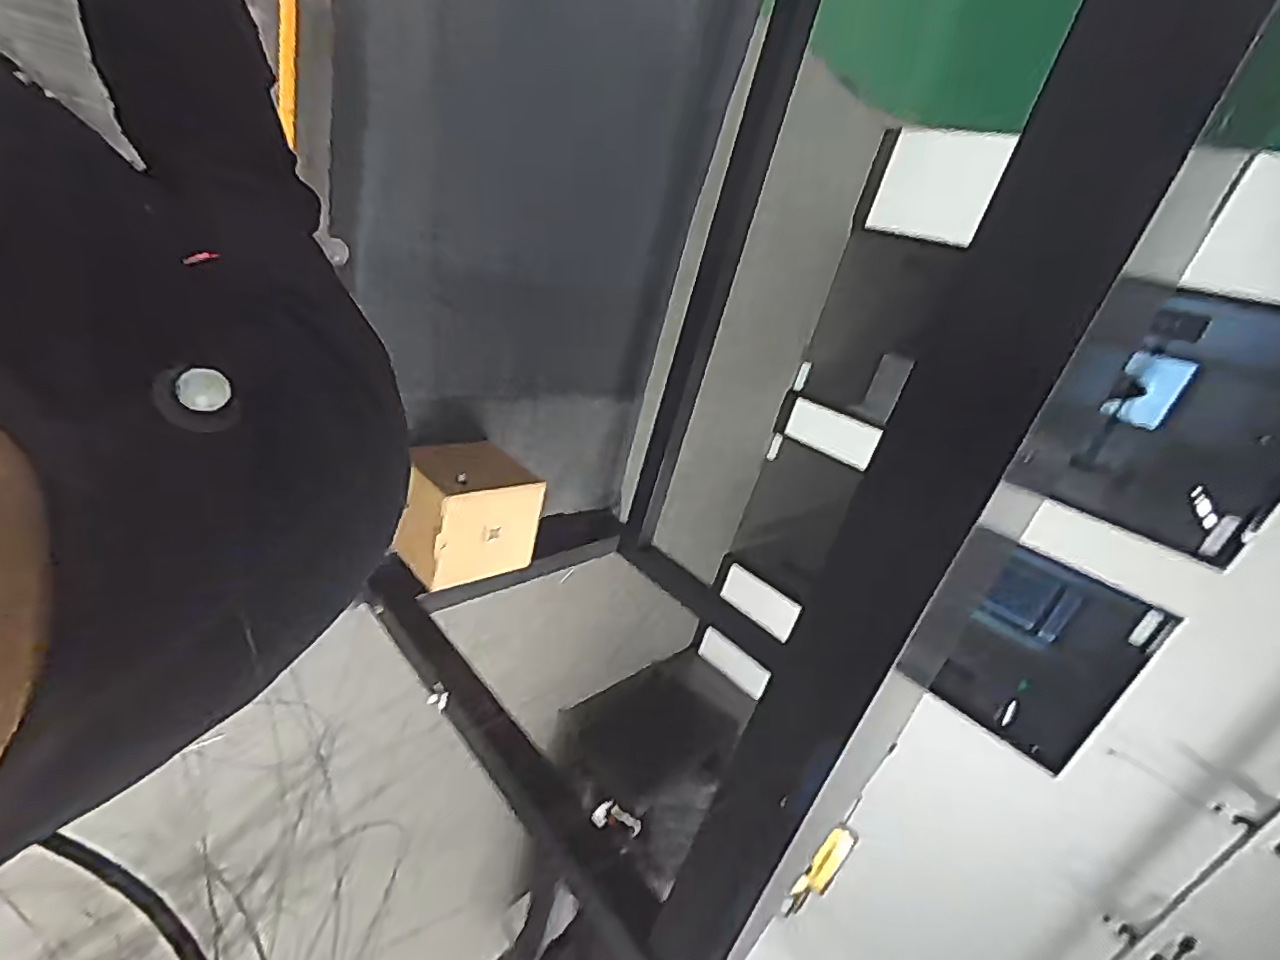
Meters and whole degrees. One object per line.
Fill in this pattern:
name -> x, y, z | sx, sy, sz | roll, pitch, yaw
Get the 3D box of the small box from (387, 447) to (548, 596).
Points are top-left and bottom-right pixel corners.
small box -> -0.280, 0.055, 0.873 | 0.179, 0.176, 0.168 | -10, 123, -47
